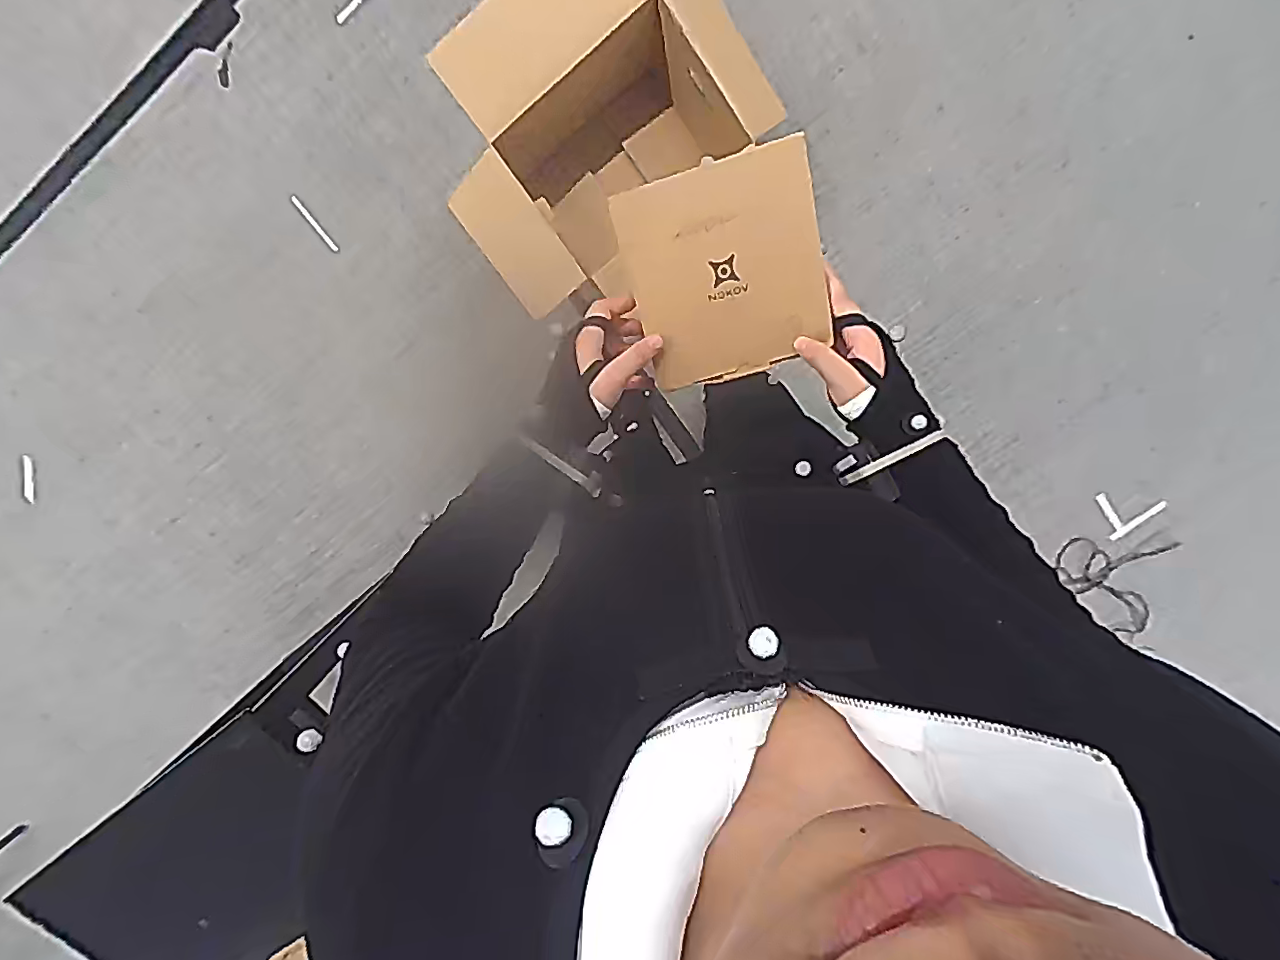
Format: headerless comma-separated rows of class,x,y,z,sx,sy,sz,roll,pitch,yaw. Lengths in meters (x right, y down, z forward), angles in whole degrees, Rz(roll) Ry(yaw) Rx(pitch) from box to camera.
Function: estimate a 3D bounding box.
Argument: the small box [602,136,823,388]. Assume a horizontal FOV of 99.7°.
small box,0.074,-0.215,0.550,0.168,0.176,0.179,-14,112,10
